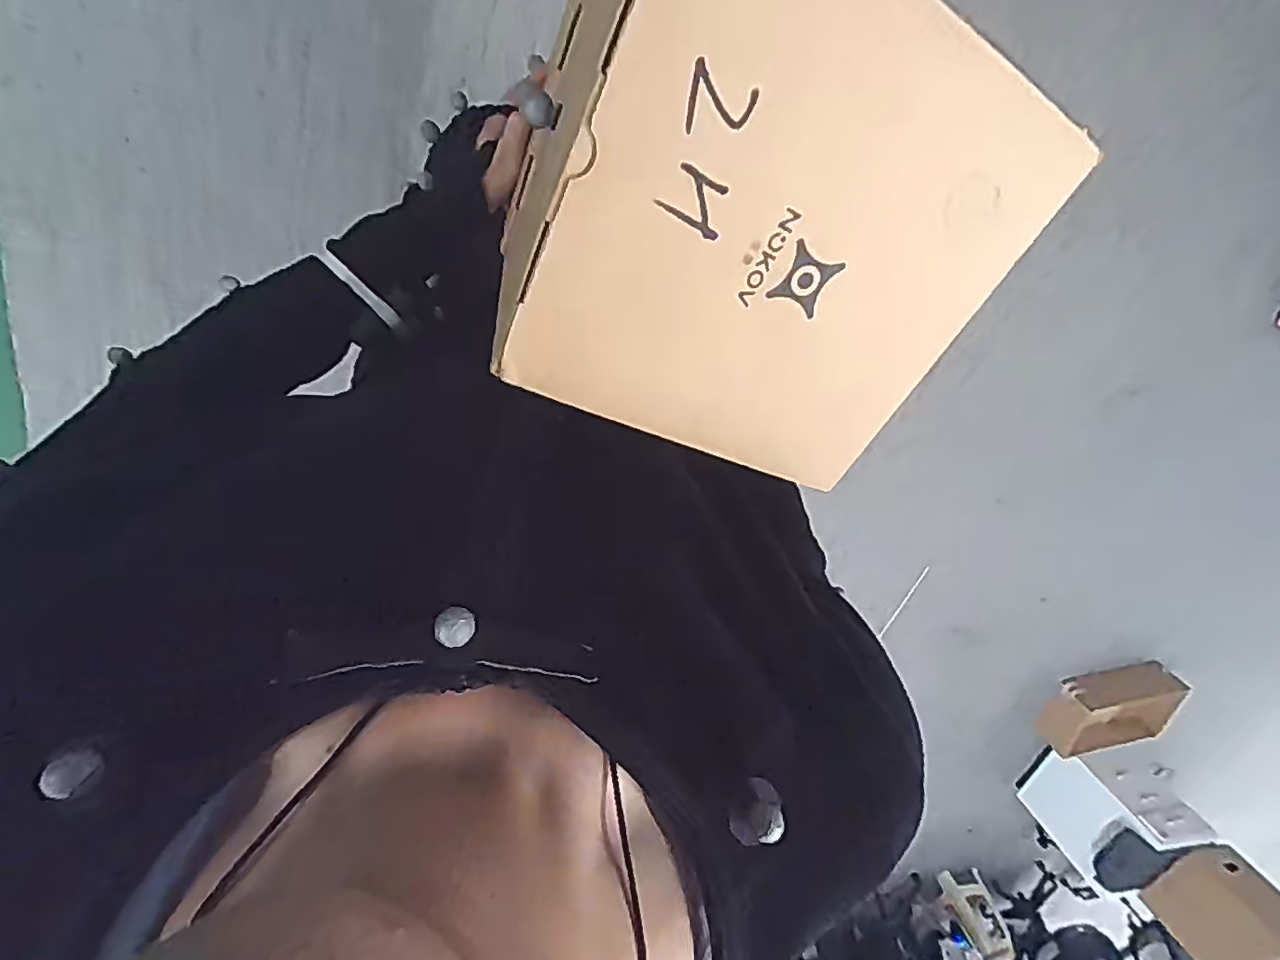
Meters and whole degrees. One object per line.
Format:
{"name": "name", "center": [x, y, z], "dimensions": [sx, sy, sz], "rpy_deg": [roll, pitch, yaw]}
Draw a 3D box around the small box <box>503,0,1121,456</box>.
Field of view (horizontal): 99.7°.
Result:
{"name": "small box", "center": [0.048, -0.143, 0.259], "dimensions": [0.179, 0.176, 0.168], "rpy_deg": [18, 120, -22]}
